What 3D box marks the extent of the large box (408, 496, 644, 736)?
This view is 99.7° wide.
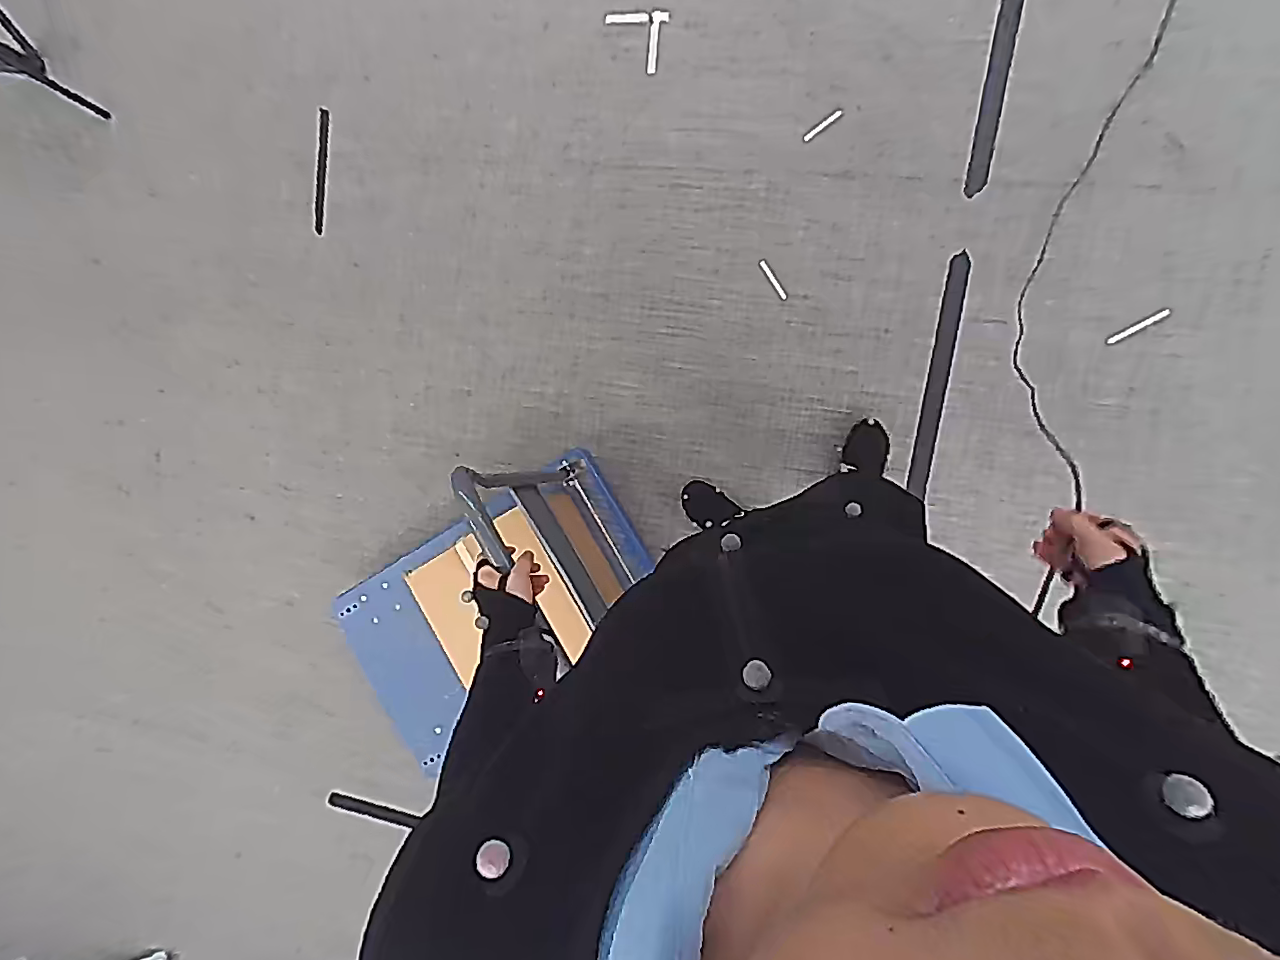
[{"bbox_3d":[-0.240,0.290,1.263,0.320,0.320,0.408,-31,87,10],"label":"large box"}]
